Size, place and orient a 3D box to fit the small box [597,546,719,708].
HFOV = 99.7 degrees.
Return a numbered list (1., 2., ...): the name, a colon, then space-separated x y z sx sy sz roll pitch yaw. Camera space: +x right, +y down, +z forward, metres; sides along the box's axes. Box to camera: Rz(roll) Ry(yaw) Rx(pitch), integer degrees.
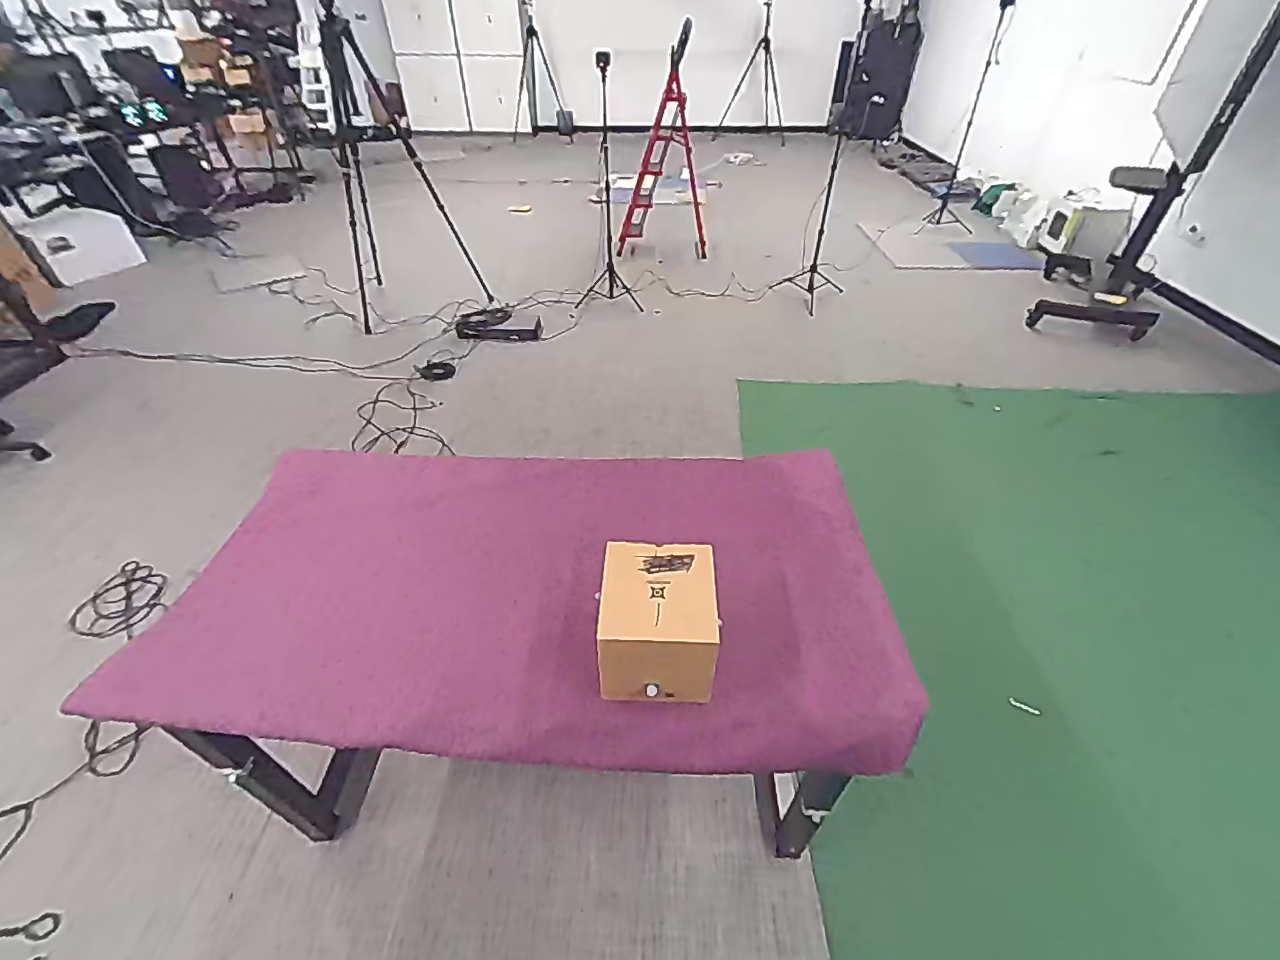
1. small box: 0.026 0.222 0.827 0.168 0.176 0.179 1 41 2
